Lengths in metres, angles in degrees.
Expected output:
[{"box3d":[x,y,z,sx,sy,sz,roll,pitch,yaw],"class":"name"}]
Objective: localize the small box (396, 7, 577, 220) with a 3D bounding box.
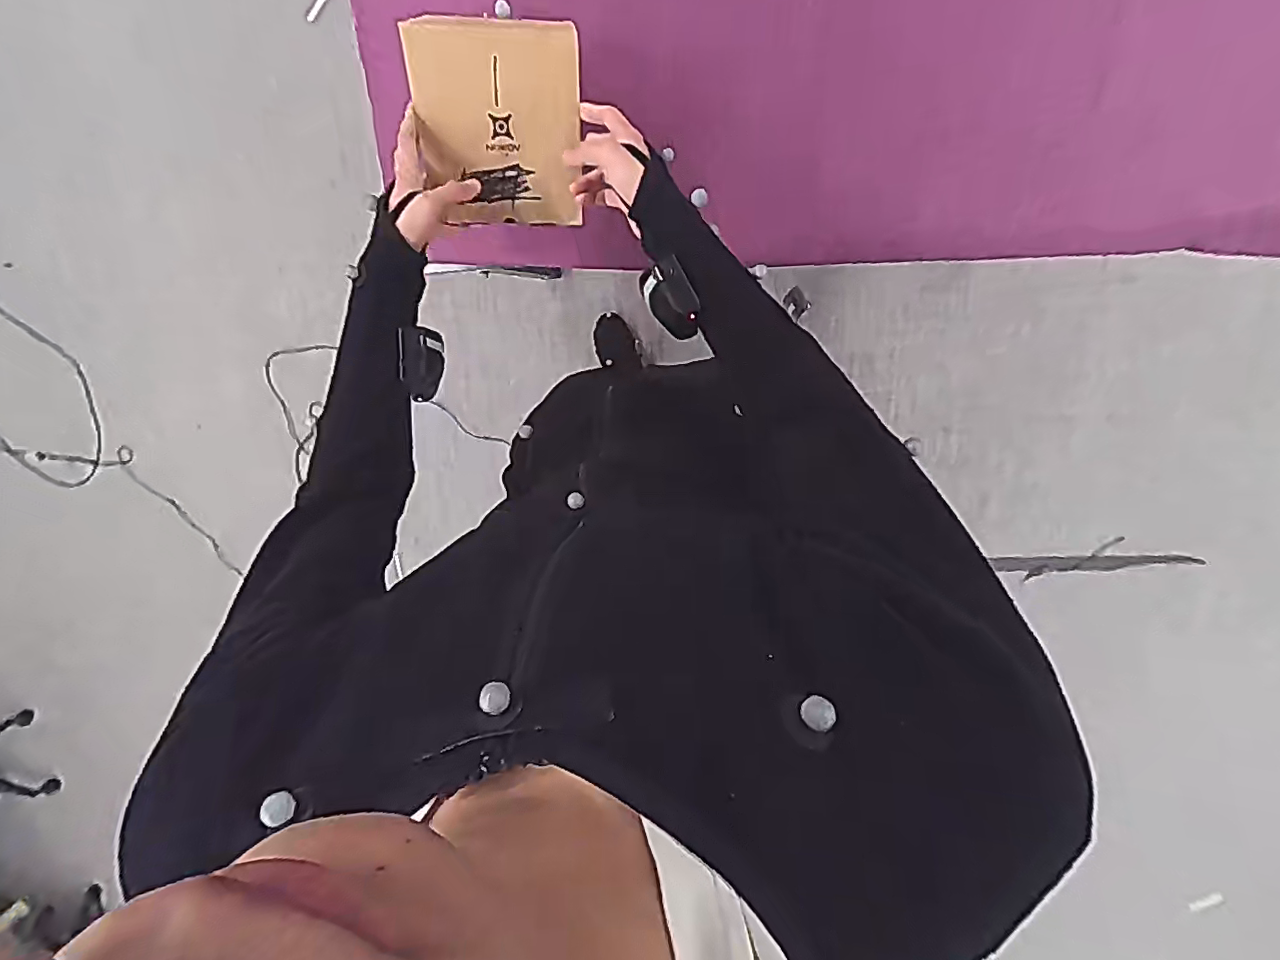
[{"box3d":[-0.155,-0.416,0.616,0.168,0.176,0.179,-2,132,-6],"class":"small box"}]
